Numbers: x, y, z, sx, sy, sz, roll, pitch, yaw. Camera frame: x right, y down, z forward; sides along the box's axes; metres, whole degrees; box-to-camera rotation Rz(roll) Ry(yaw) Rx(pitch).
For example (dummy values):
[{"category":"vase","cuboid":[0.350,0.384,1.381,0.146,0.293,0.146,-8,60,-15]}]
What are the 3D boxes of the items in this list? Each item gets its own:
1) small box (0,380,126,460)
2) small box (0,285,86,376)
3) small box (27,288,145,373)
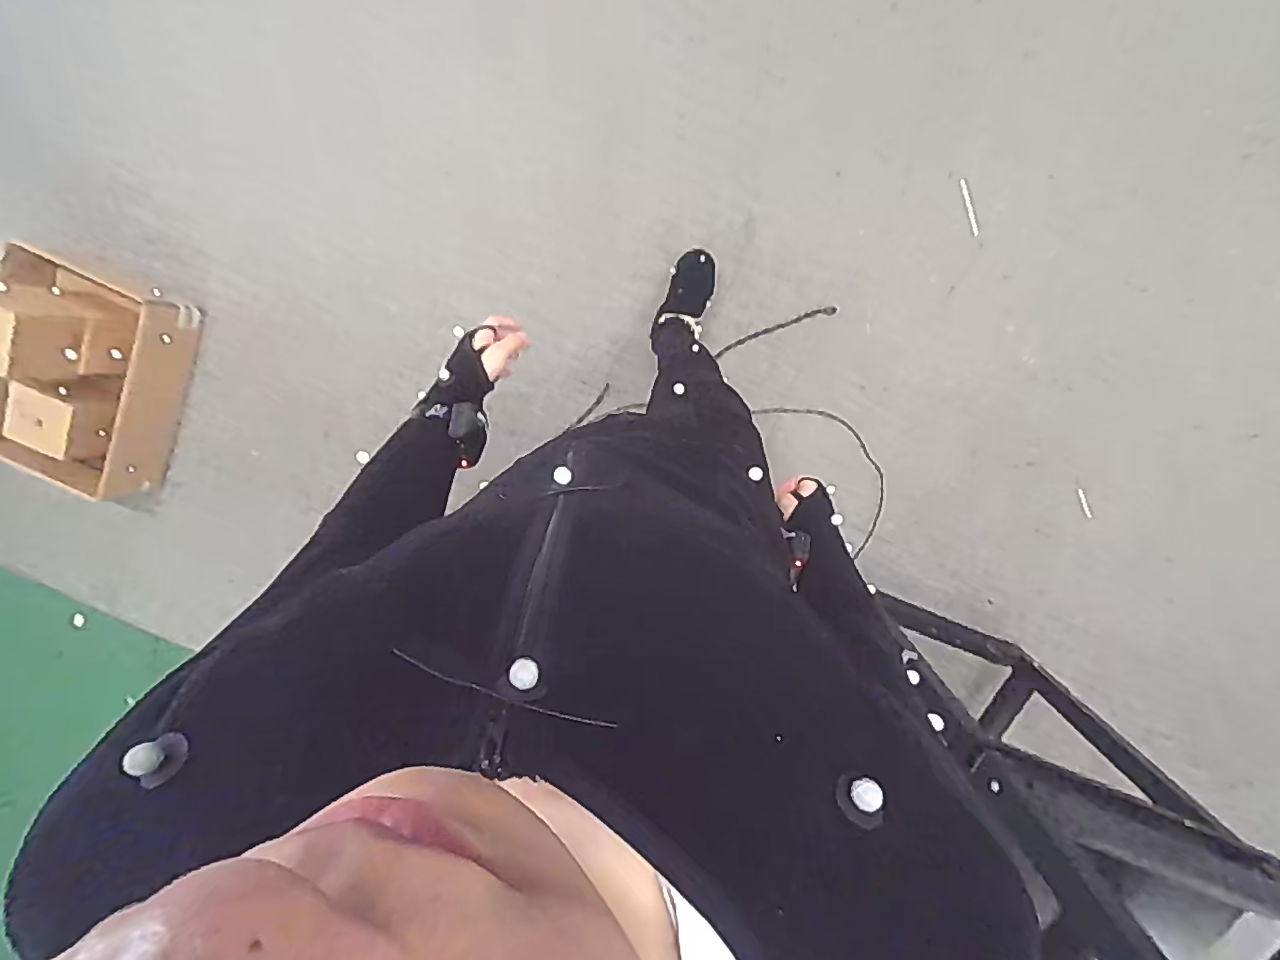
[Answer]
[{"category":"small box","cuboid":[-1.631,-0.178,1.537,0.179,0.176,0.168,24,102,-3]},{"category":"small box","cuboid":[-1.532,-0.368,1.319,0.179,0.176,0.168,27,105,-4]},{"category":"small box","cuboid":[-1.518,-0.407,1.478,0.179,0.176,0.168,24,104,-3]}]
